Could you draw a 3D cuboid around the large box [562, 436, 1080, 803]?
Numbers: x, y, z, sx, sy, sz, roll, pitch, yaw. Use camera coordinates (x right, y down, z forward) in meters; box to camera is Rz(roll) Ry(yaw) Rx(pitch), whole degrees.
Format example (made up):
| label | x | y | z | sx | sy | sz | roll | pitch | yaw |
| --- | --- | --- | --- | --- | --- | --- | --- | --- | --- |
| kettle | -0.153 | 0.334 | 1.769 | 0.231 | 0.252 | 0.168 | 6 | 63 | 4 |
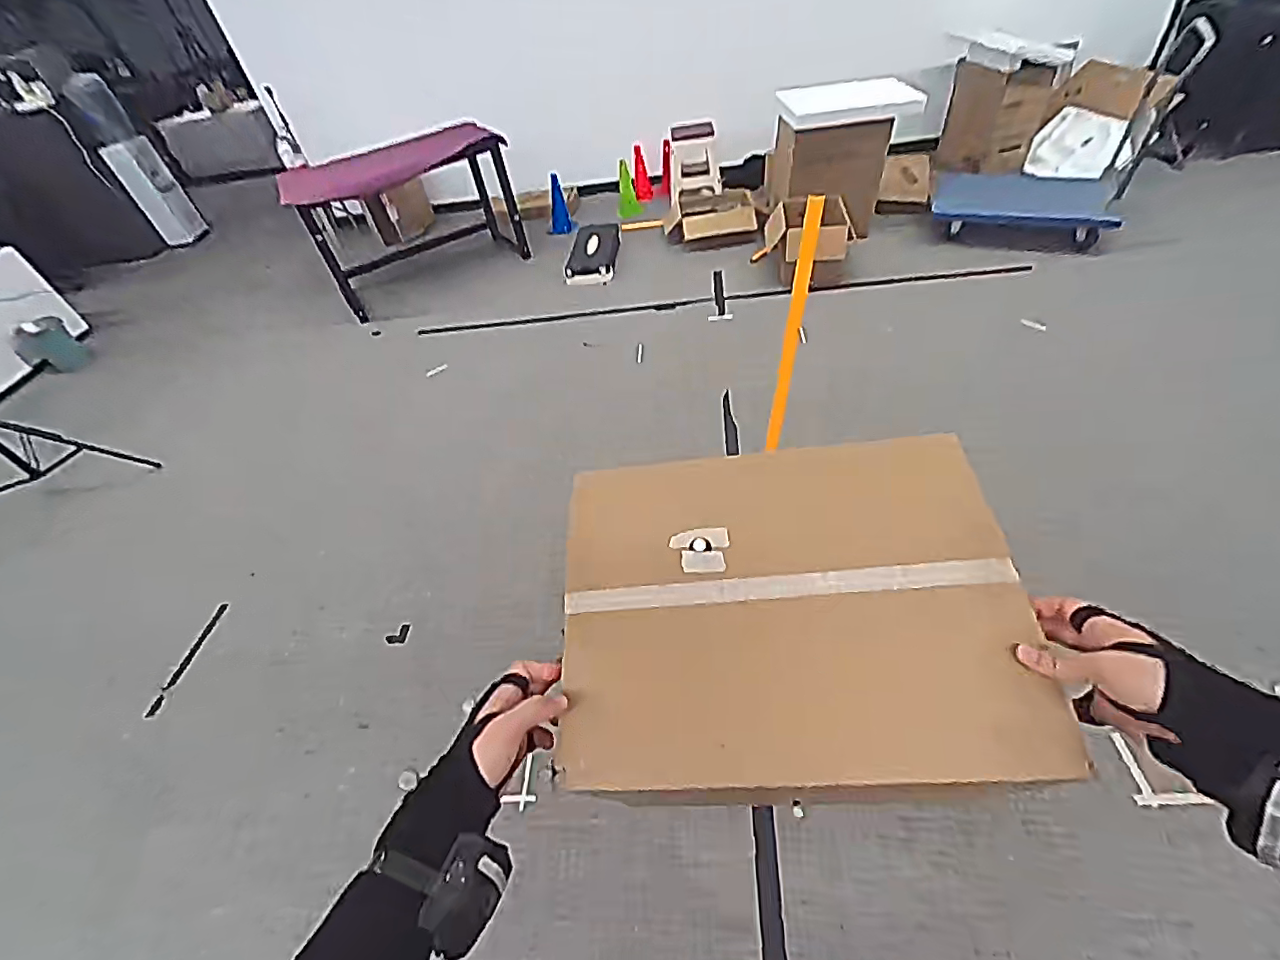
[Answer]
| label | x | y | z | sx | sy | sz | roll | pitch | yaw |
| --- | --- | --- | --- | --- | --- | --- | --- | --- | --- |
| large box | 0.156 | 0.185 | 0.624 | 0.408 | 0.320 | 0.320 | -7 | 55 | 9 |
